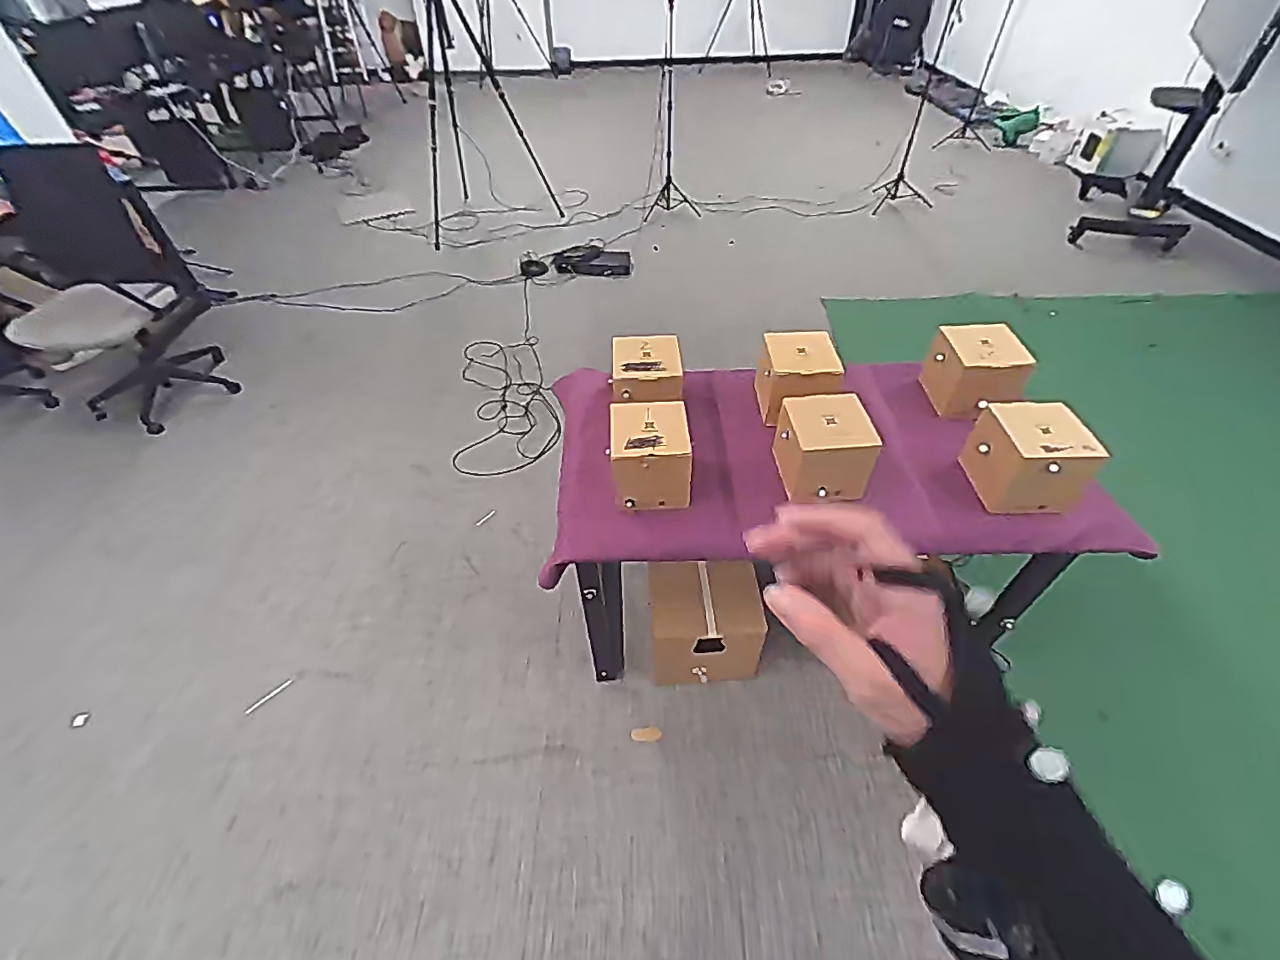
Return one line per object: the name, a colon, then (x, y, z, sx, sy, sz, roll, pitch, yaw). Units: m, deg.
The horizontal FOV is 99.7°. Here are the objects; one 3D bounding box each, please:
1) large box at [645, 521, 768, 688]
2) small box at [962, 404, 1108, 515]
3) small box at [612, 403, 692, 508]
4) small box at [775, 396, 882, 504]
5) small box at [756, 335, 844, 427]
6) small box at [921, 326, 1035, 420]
large box: (0.188, 0.387, 1.695, 0.320, 0.320, 0.408, -3, 45, -1)
small box: (0.832, -0.045, 1.164, 0.168, 0.176, 0.179, -1, 44, 3)
small box: (0.024, -0.049, 1.200, 0.168, 0.176, 0.179, -3, 45, -1)
small box: (0.408, -0.067, 1.206, 0.168, 0.176, 0.179, -3, 46, 0)
small box: (0.401, -0.254, 1.388, 0.168, 0.176, 0.179, -1, 47, 0)
small box: (0.848, -0.272, 1.381, 0.168, 0.176, 0.179, -2, 47, 3)
